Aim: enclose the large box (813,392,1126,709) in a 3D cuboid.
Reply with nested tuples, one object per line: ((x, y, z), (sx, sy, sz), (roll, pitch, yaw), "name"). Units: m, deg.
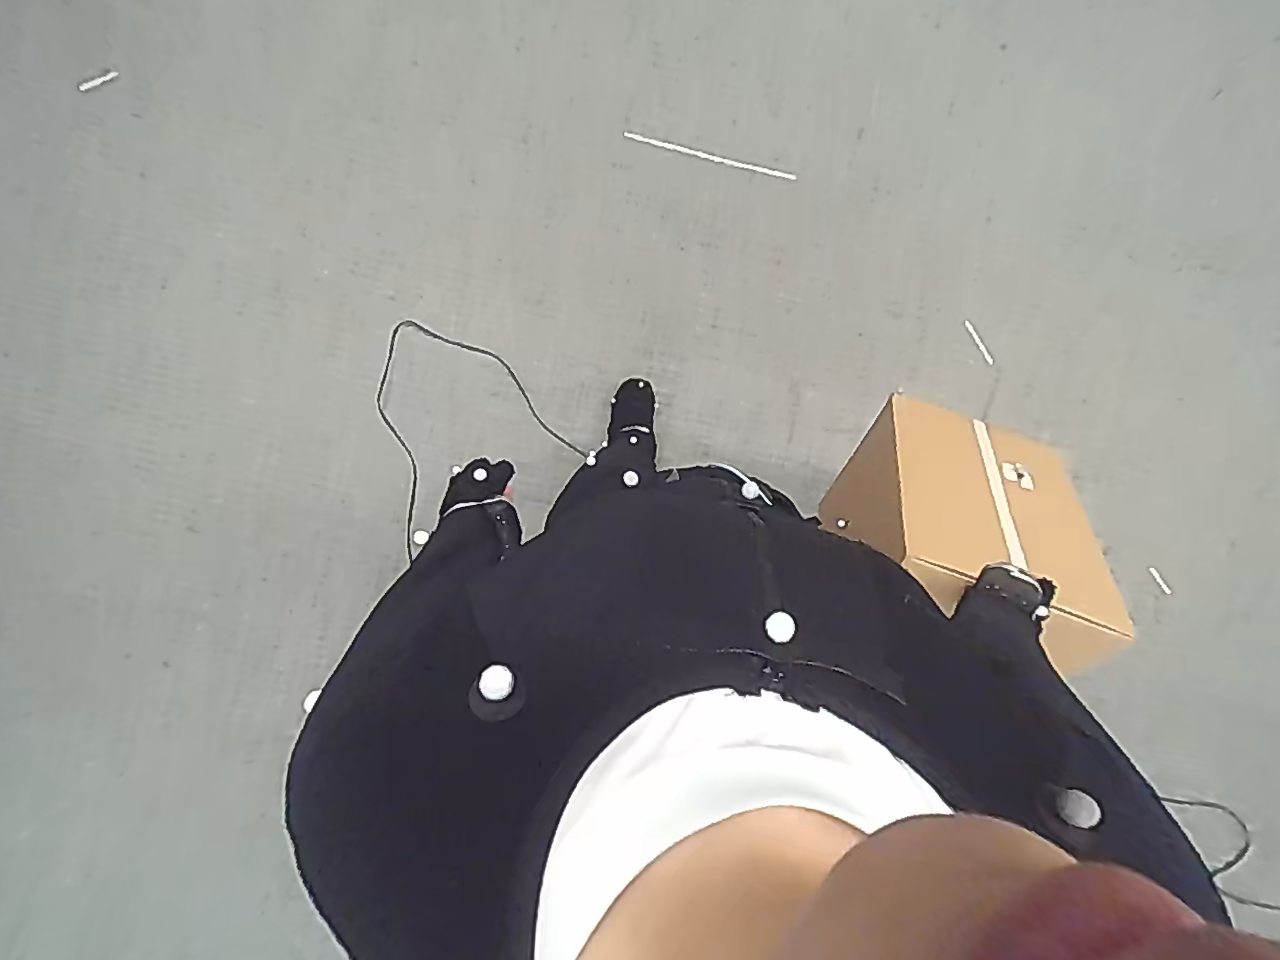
((0.520, 0.117, 0.959), (0.320, 0.408, 0.320), (21, 135, 3), "large box")
